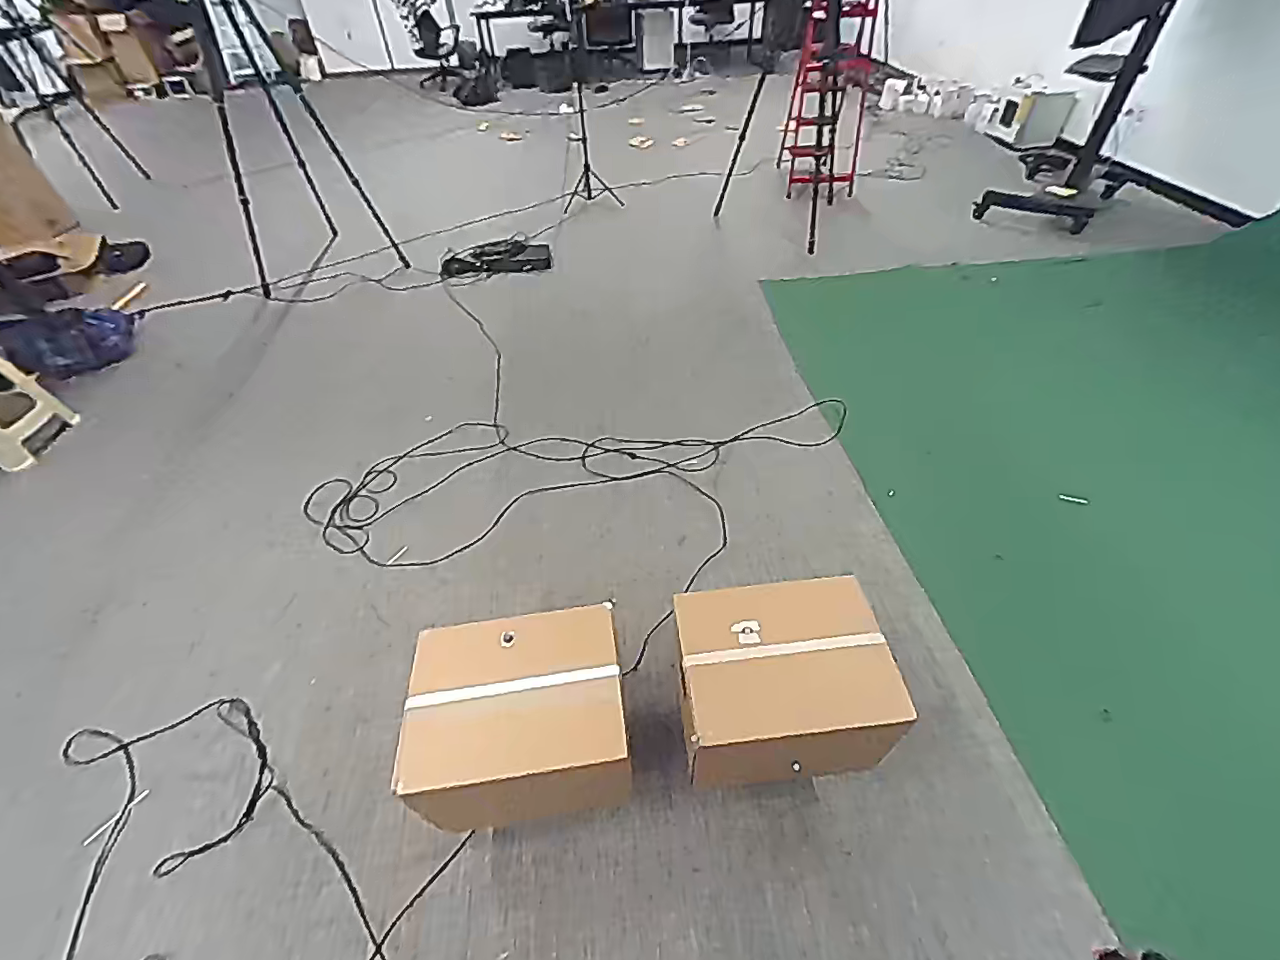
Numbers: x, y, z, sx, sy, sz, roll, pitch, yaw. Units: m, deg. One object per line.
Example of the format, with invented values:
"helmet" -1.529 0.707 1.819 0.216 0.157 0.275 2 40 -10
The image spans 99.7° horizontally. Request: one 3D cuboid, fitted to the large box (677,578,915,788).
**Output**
"large box" 0.302 0.449 1.189 0.408 0.320 0.320 -6 46 -2
